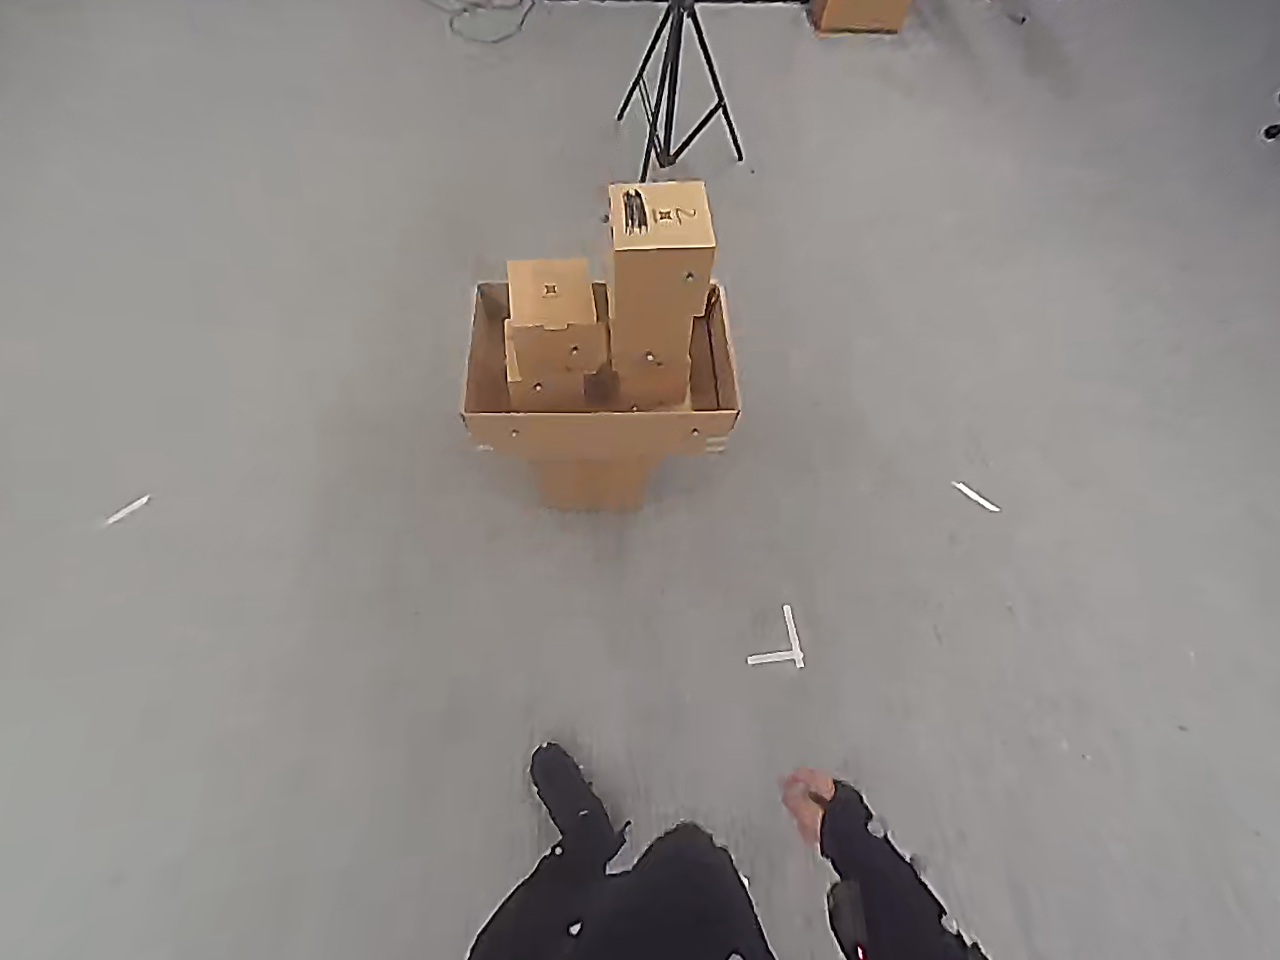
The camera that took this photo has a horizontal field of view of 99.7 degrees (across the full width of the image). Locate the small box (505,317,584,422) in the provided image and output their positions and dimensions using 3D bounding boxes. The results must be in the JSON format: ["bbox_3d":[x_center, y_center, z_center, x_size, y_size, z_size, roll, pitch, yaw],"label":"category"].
[{"bbox_3d":[-0.222,-0.259,1.278,0.168,0.176,0.179,-6,65,-6],"label":"small box"}]
